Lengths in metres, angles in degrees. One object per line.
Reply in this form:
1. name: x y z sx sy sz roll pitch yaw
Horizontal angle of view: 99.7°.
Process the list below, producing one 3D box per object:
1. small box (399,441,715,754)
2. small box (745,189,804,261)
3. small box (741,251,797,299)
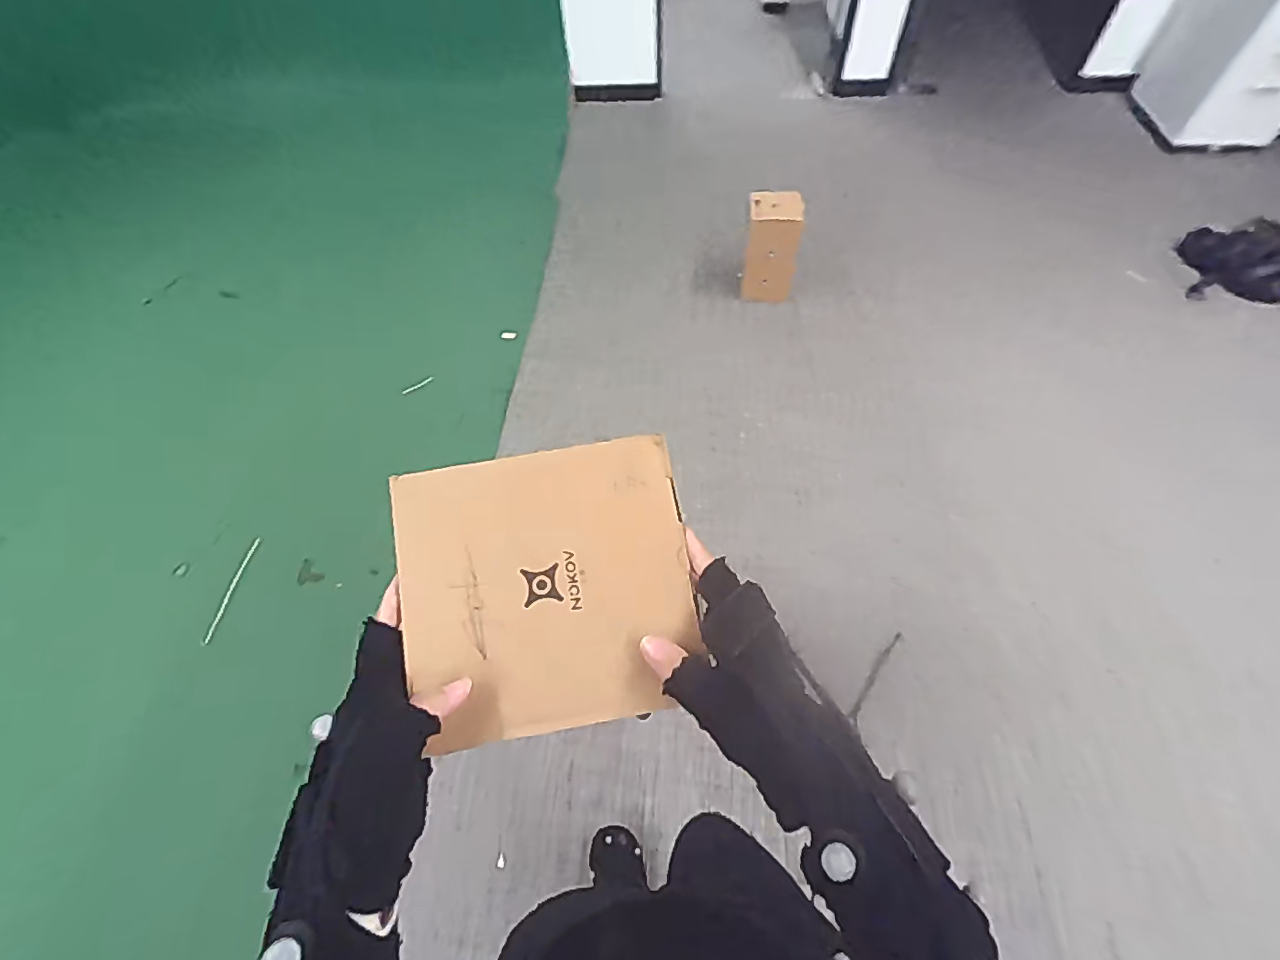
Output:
1. small box: -0.055 0.083 0.407 0.179 0.176 0.168 -10 76 -2
2. small box: 0.468 -0.891 1.895 0.179 0.176 0.168 5 59 6
3. small box: 0.481 -0.799 2.030 0.179 0.176 0.168 3 58 4
